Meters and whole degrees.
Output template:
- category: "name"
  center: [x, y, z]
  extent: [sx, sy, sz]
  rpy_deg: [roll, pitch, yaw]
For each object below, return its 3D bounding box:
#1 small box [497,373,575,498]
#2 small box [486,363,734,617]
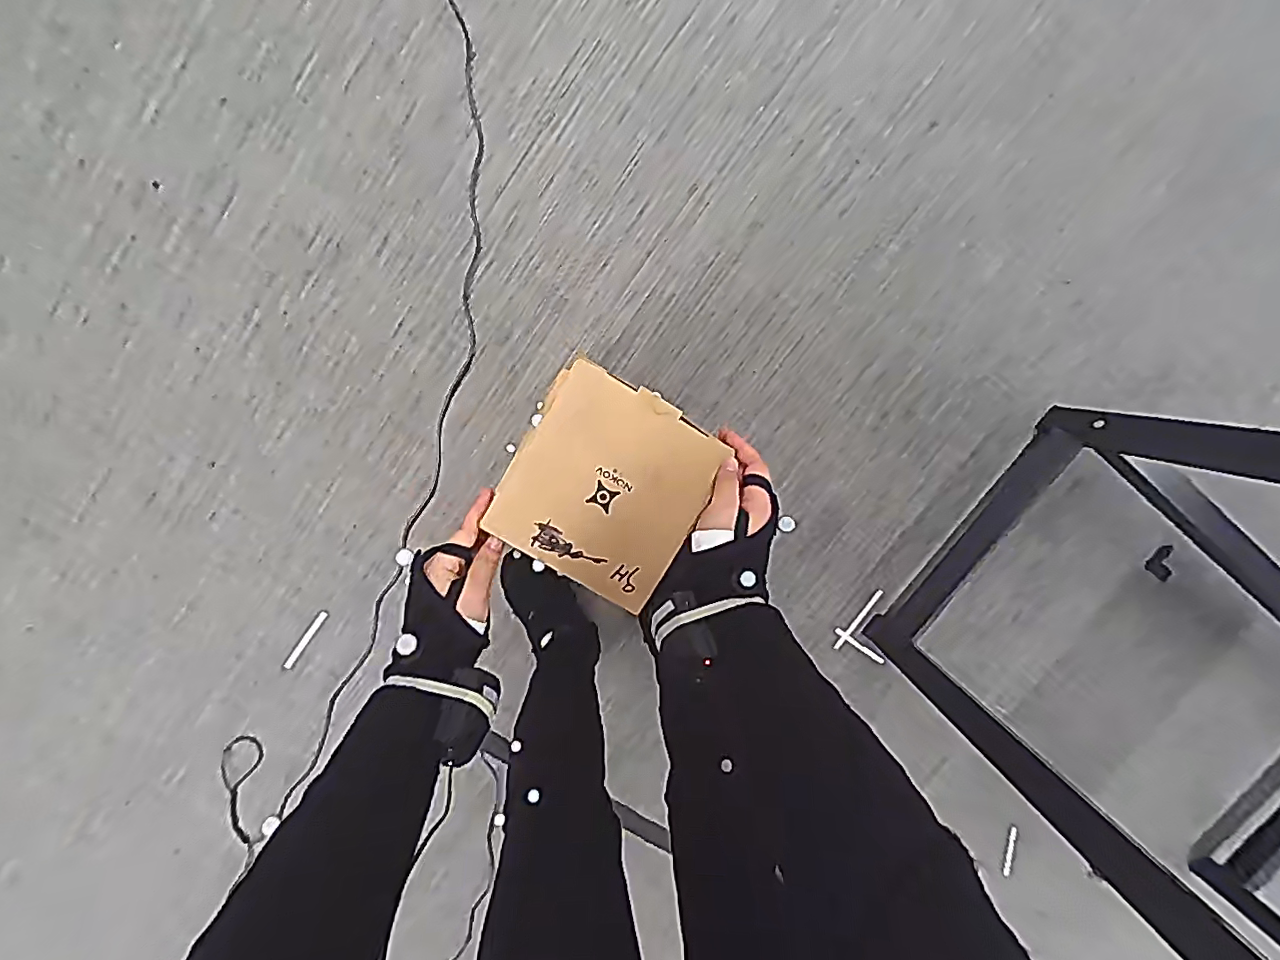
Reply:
- category: "small box"
  center: [-0.071, -0.030, 0.739]
  extent: [0.168, 0.176, 0.179]
  rpy_deg: [28, 97, -11]
- category: "small box"
  center: [-0.033, 0.005, 0.560]
  extent: [0.168, 0.176, 0.179]
  rpy_deg: [31, 91, -6]
